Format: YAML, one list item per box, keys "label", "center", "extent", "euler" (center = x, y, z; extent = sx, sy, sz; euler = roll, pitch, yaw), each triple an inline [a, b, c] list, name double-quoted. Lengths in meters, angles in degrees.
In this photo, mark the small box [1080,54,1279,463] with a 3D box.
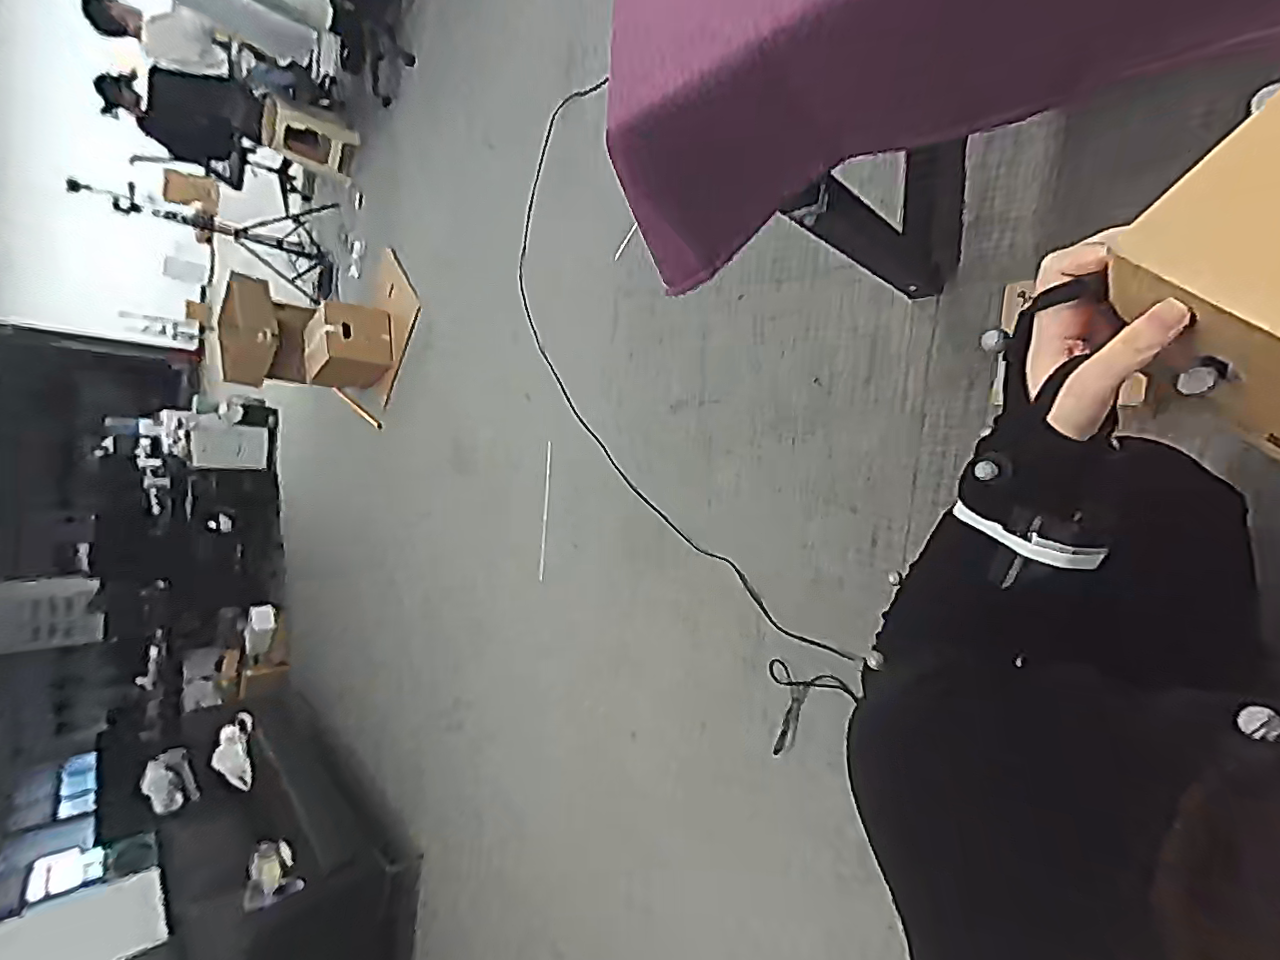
- label: "small box"
  center: [0.360, -0.107, 0.250]
  extent: [0.179, 0.176, 0.168]
  euler: [-49, 54, 23]
